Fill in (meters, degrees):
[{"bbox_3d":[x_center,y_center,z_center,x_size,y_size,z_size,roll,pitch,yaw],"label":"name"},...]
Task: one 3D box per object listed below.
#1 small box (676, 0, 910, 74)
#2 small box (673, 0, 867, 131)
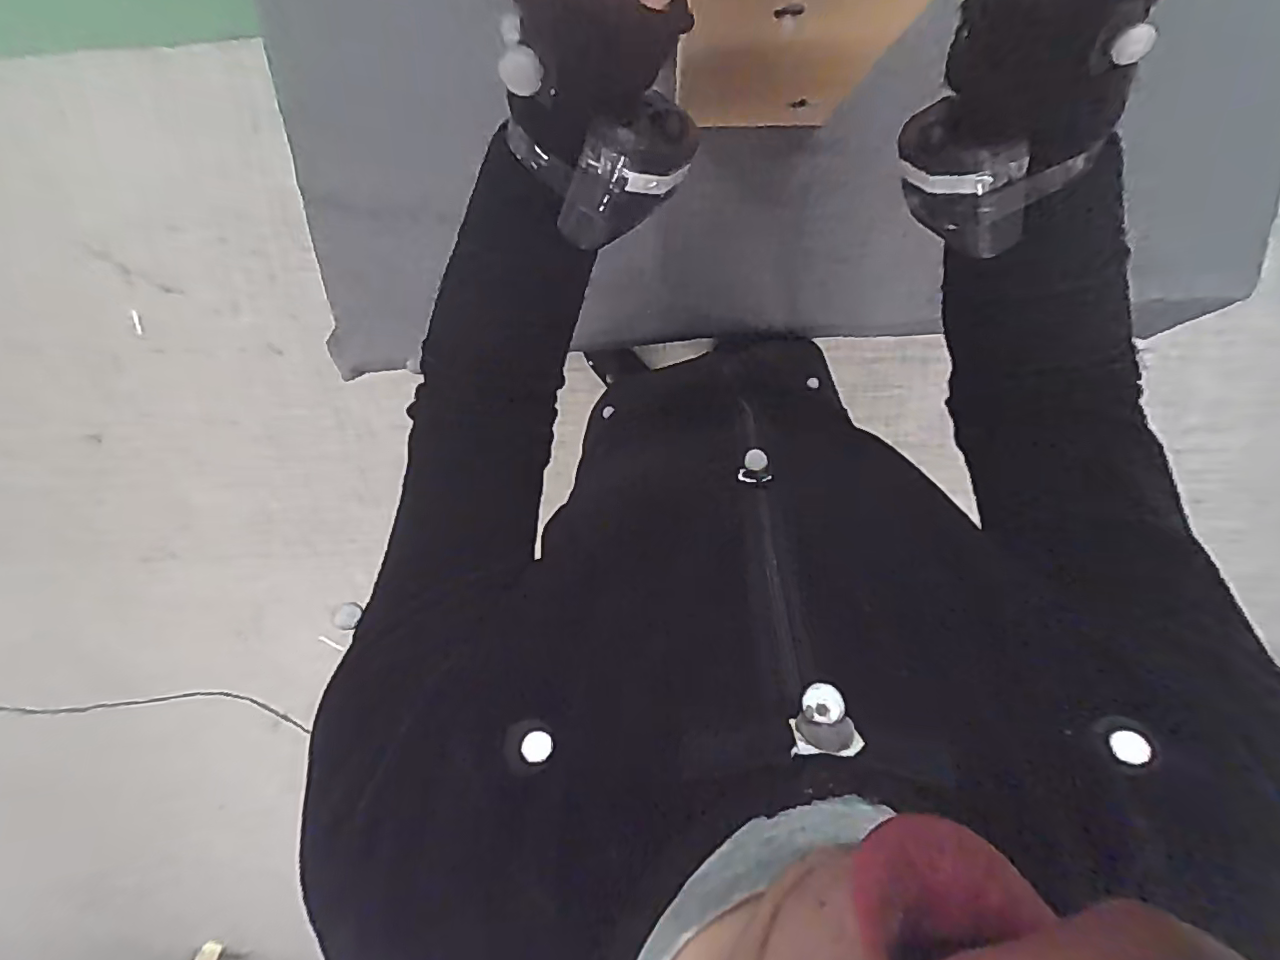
[{"bbox_3d":[0.116,-0.423,0.394,0.179,0.176,0.168,-1,109,1],"label":"small box"},{"bbox_3d":[0.124,-0.474,0.550,0.179,0.176,0.168,1,108,3],"label":"small box"}]
